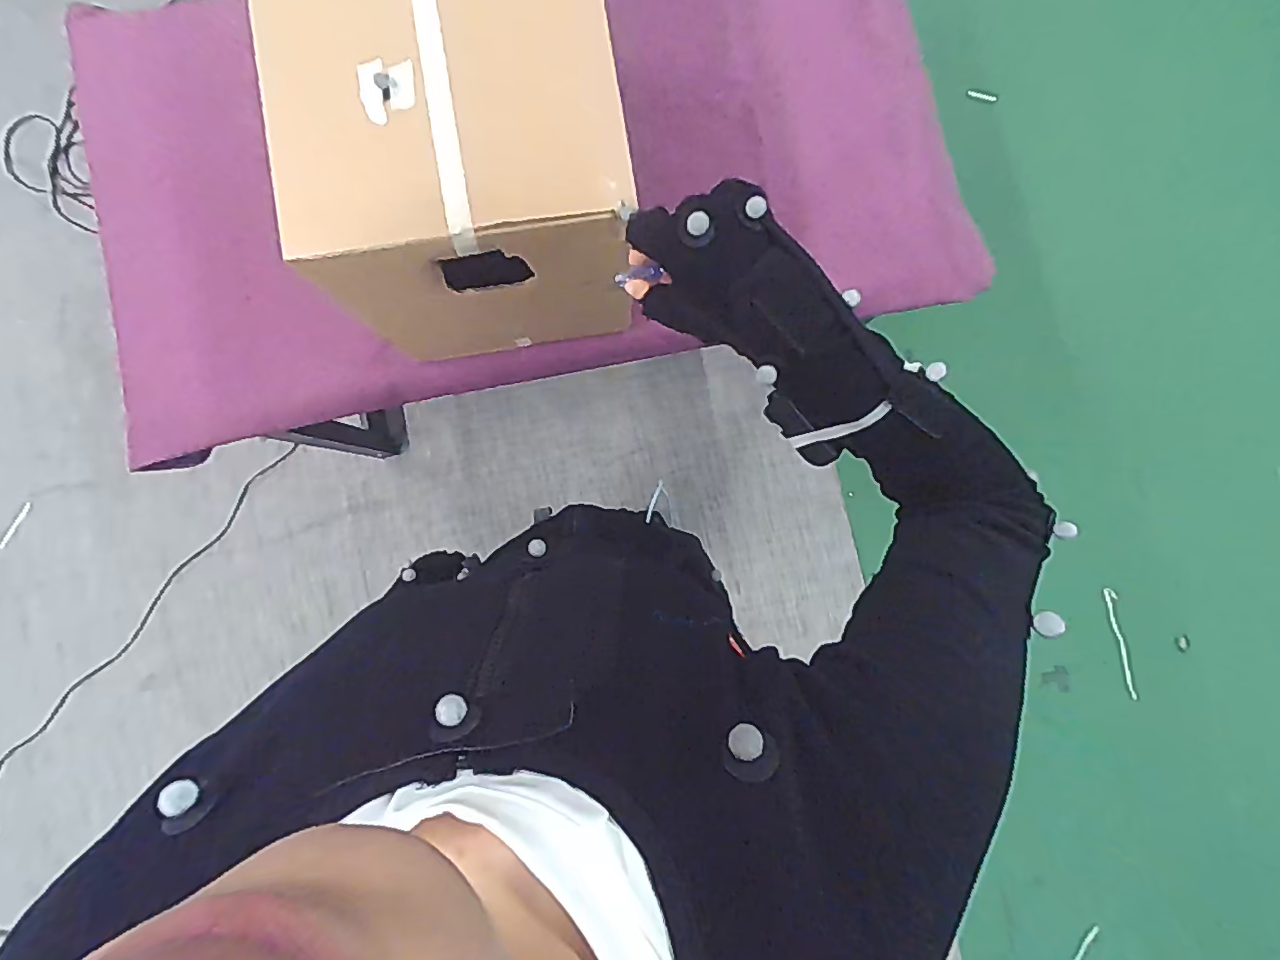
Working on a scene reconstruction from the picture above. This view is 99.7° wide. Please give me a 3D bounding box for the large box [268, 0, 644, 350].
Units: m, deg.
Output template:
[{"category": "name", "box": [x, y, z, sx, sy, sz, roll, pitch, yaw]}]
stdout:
[{"category": "large box", "box": [-0.188, -0.410, 0.645, 0.320, 0.320, 0.408, -9, 88, -2]}]
